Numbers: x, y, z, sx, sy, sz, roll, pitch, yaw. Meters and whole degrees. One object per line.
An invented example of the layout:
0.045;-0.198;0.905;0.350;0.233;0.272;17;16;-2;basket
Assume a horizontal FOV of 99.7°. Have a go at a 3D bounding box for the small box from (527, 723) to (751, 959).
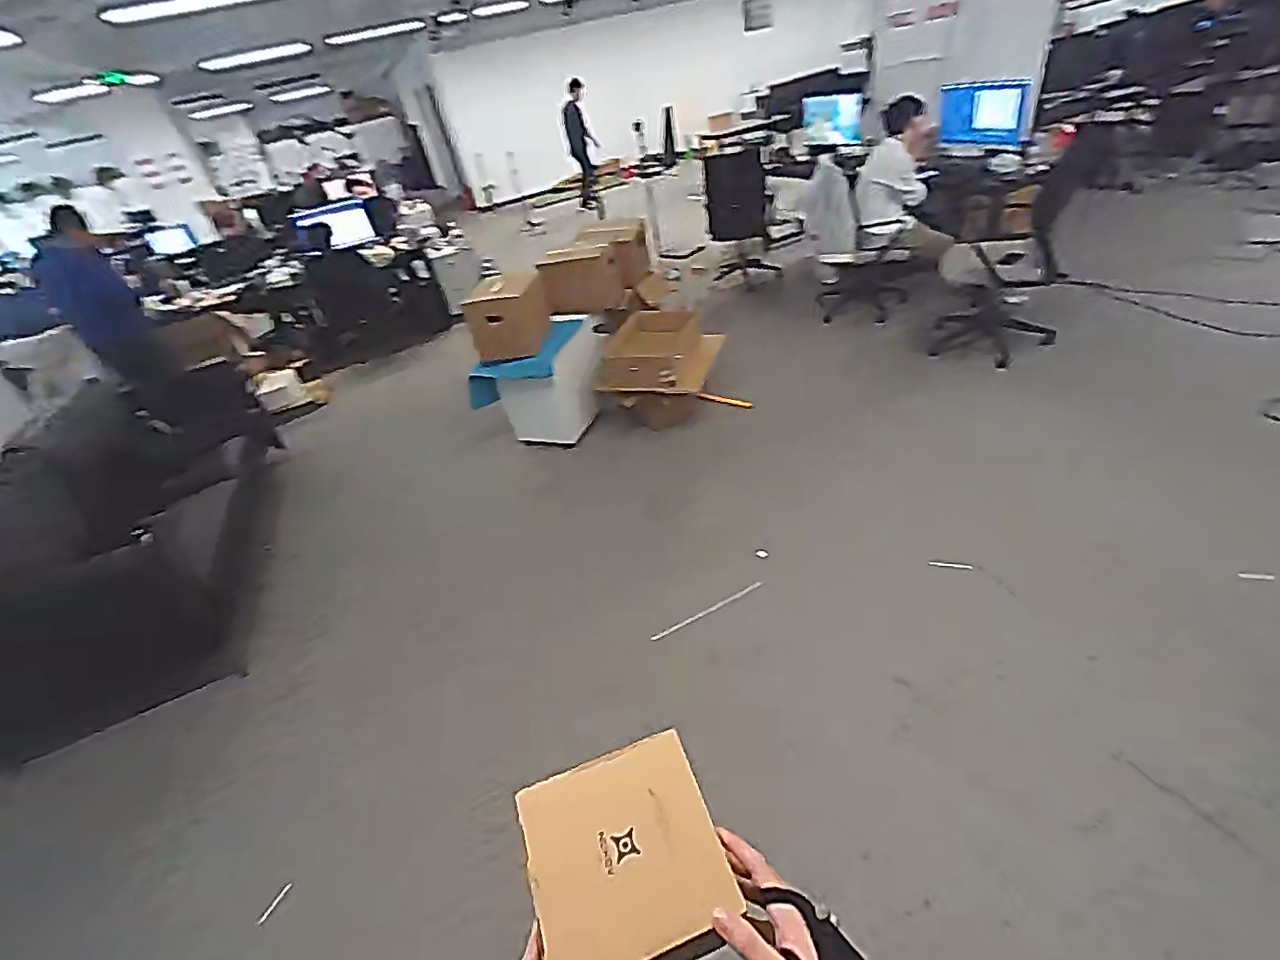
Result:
0.001;0.389;0.553;0.179;0.176;0.168;-17;44;-9;small box
